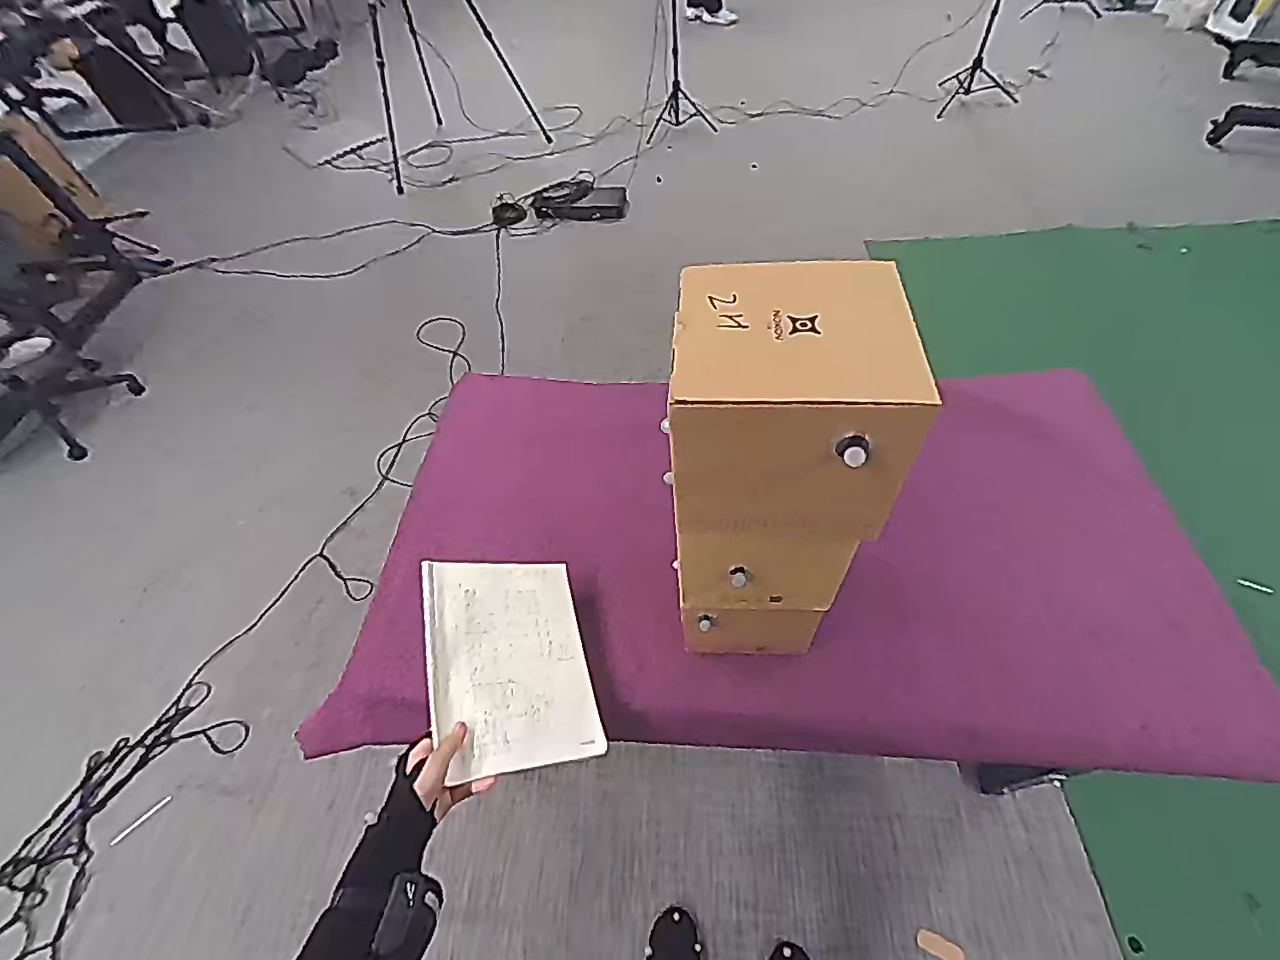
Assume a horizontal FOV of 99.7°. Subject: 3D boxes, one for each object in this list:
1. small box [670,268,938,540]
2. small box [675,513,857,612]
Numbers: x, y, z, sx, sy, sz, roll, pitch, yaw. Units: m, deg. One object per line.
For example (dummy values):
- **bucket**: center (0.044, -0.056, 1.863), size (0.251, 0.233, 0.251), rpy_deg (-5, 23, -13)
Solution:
- **small box**: center (0.121, -0.060, 0.466), size (0.179, 0.176, 0.168), rpy_deg (2, 52, 8)
- **small box**: center (0.128, 0.035, 0.601), size (0.168, 0.176, 0.179), rpy_deg (0, 52, 6)
